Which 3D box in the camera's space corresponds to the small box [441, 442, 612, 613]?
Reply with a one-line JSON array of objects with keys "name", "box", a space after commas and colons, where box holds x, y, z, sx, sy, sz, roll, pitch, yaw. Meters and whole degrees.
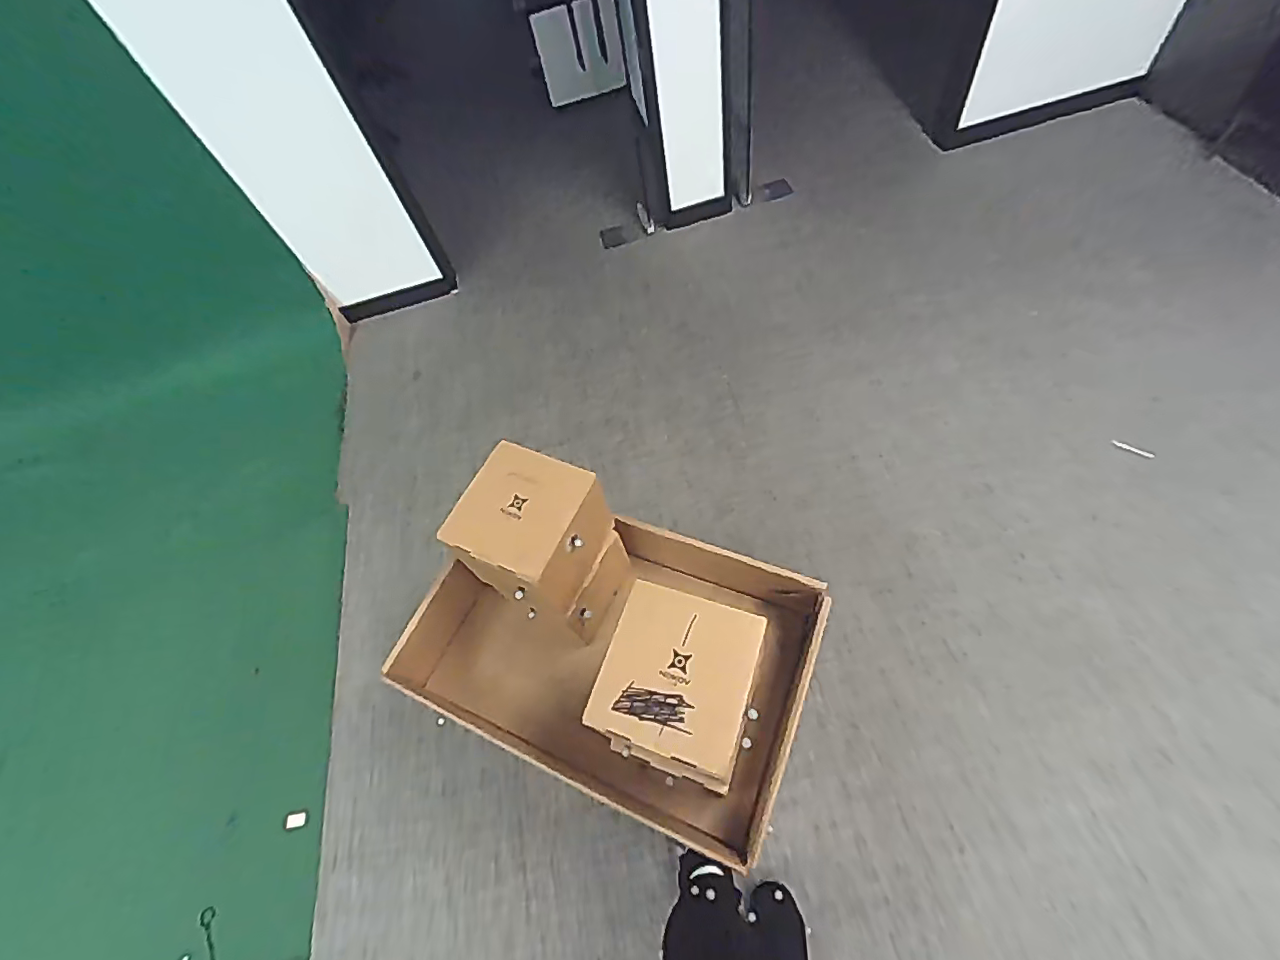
[{"name": "small box", "box": [-0.155, 0.077, 0.817, 0.168, 0.176, 0.179, 20, 64, 18]}]

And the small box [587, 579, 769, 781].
[{"name": "small box", "box": [0.057, 0.253, 0.673, 0.168, 0.176, 0.179, 14, 62, 18]}]
